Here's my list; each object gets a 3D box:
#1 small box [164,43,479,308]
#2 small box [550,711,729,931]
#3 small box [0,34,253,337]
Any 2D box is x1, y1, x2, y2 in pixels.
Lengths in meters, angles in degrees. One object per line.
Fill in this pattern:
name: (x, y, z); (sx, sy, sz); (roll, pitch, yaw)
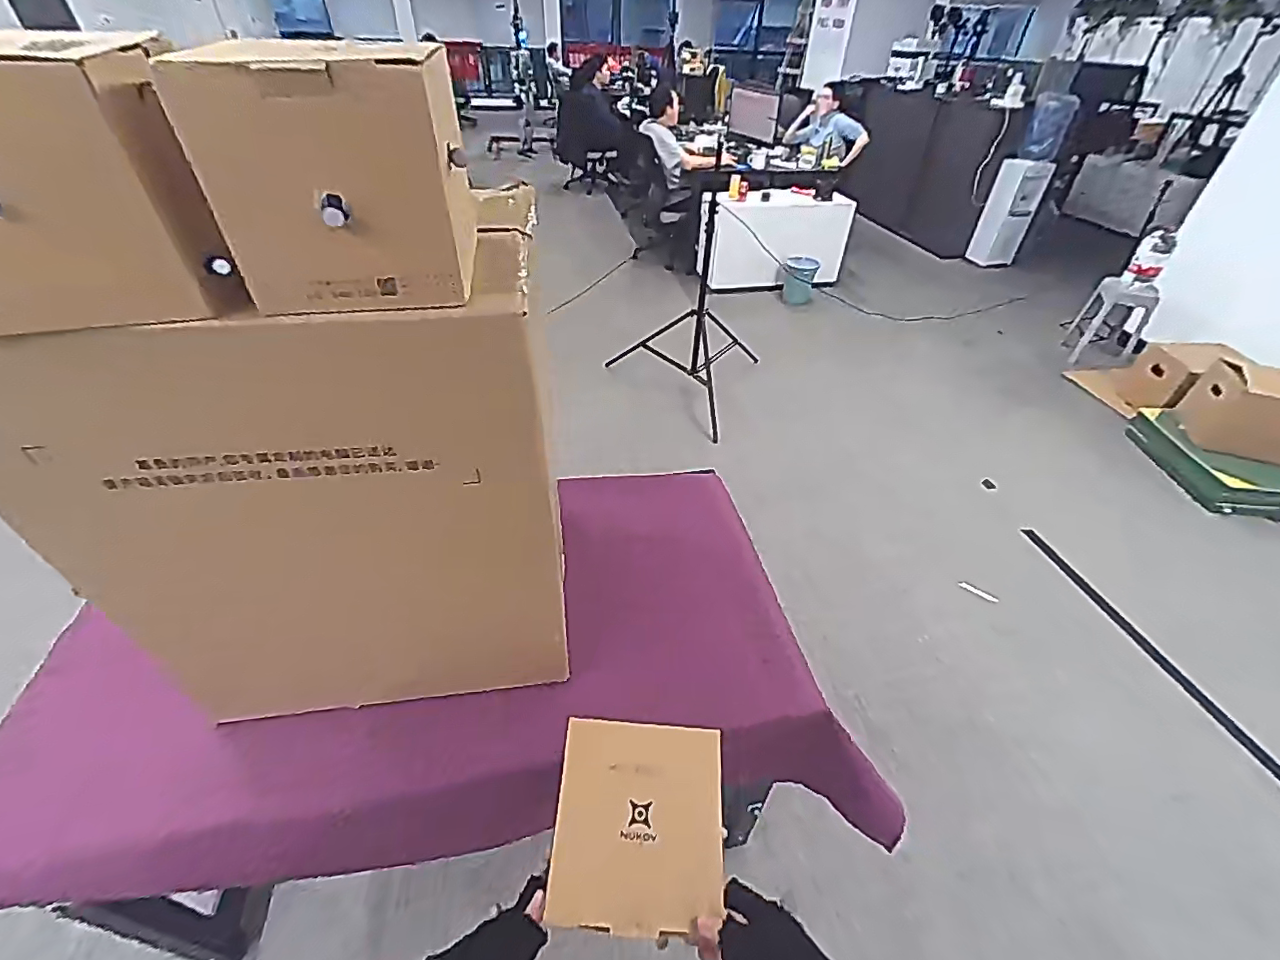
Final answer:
small box: (-0.236, -0.258, 0.463); (0.168, 0.176, 0.179); (-5, 43, -10)
small box: (-0.003, 0.373, 0.596); (0.168, 0.176, 0.179); (7, 53, -4)
small box: (-0.435, -0.227, 0.418); (0.179, 0.176, 0.168); (-10, 43, -13)
